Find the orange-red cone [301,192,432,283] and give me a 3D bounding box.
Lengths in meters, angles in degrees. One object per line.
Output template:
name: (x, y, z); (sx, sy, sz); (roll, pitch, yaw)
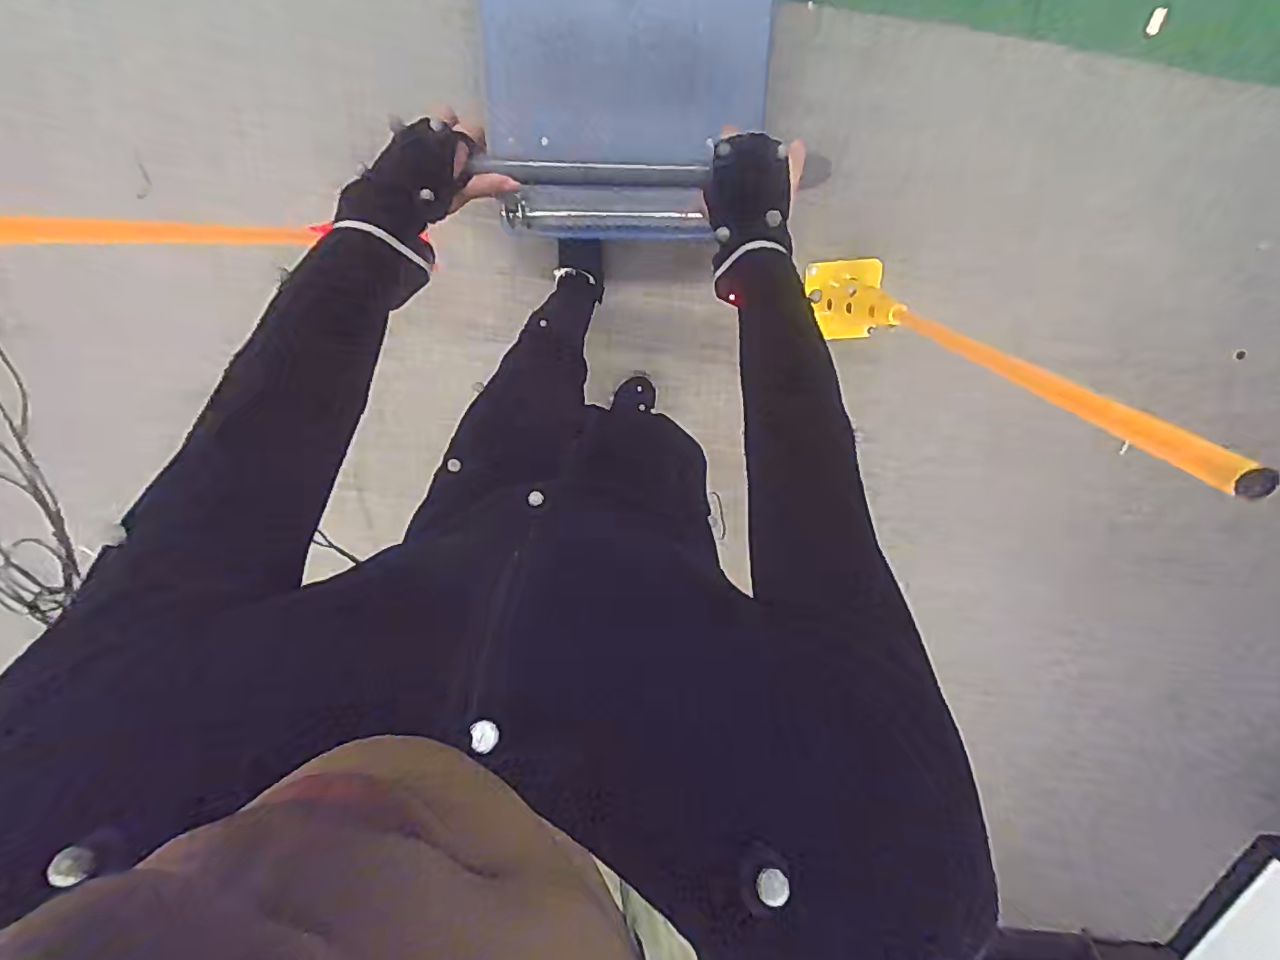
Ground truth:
orange-red cone: (-0.638, -0.542, 1.206); (0.199, 0.360, 0.198); (-6, 113, 3)
